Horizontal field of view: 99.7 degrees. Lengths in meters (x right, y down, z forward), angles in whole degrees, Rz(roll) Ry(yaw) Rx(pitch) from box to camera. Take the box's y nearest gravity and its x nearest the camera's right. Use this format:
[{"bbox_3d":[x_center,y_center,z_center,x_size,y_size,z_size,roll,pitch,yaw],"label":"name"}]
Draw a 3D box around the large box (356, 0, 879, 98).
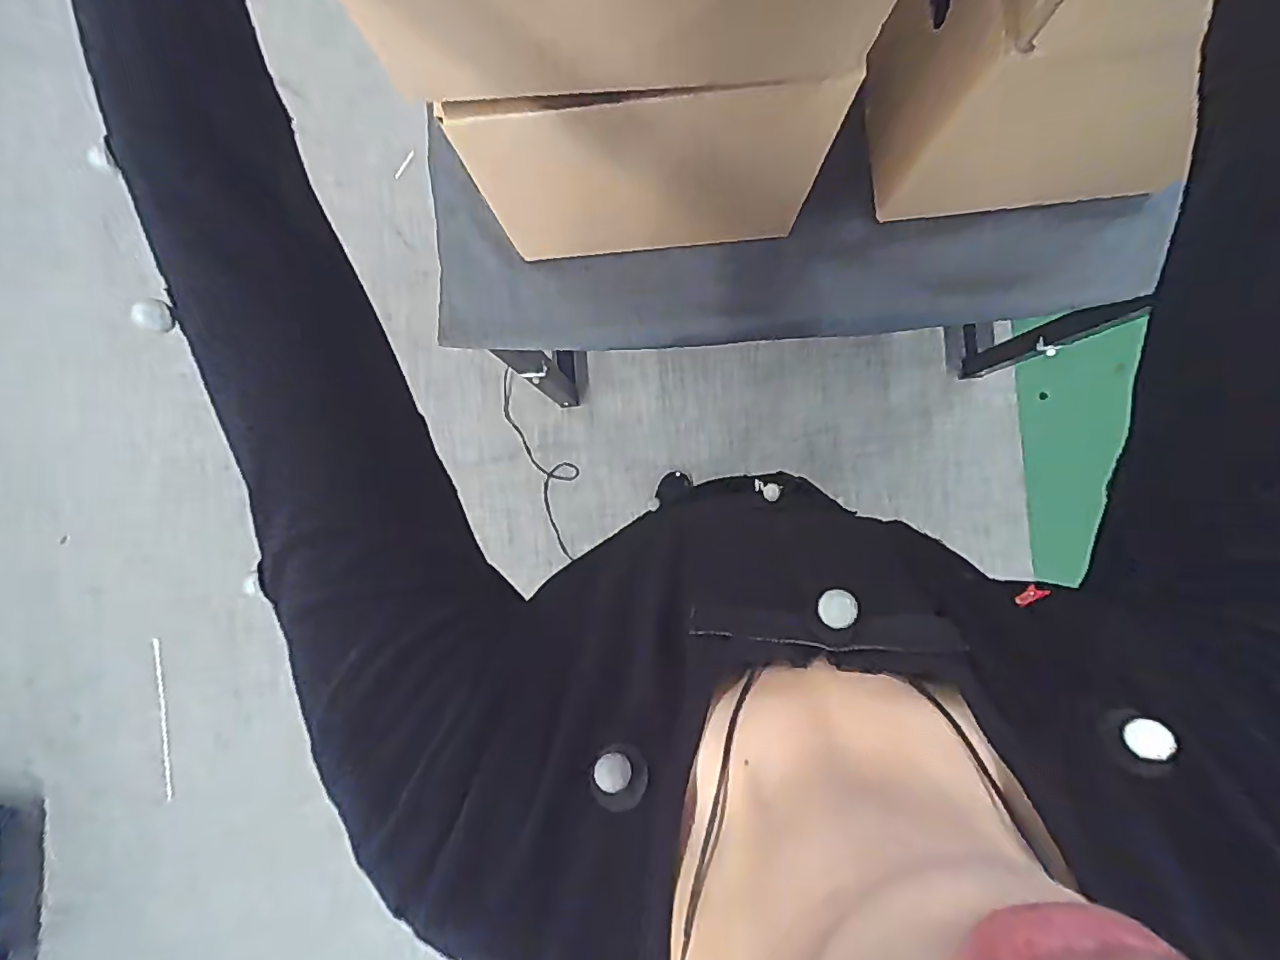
[{"bbox_3d":[-0.019,-0.503,0.336,0.408,0.320,0.320,-4,92,-1],"label":"large box"}]
